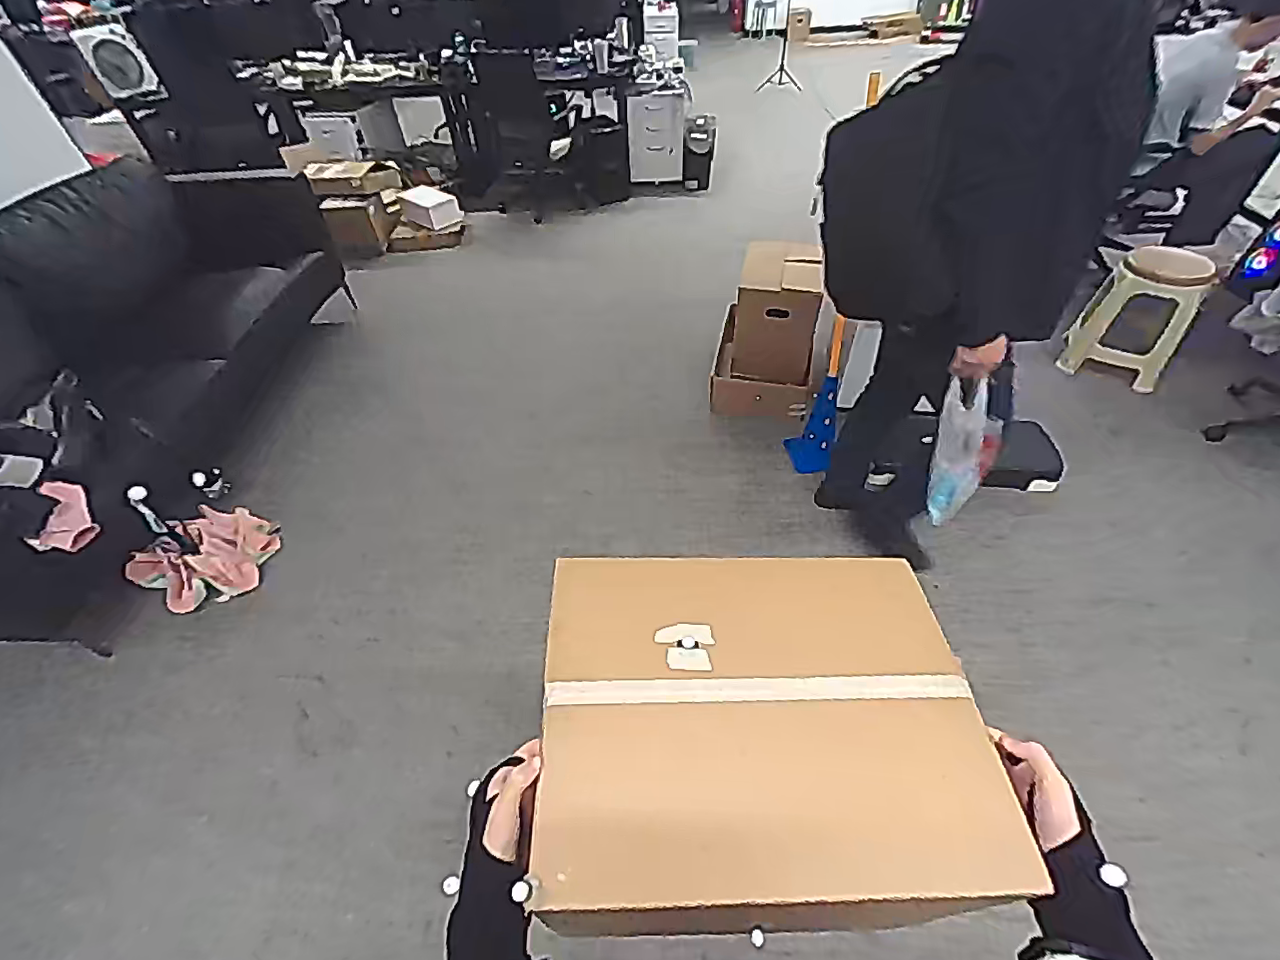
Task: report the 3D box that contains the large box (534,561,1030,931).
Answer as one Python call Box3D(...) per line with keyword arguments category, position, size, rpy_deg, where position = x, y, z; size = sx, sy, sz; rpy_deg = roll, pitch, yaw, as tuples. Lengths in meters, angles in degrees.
Box3D(category="large box", position=(0.108, 0.312, 0.630), size=(0.408, 0.320, 0.320), rpy_deg=(0, 47, -2))
